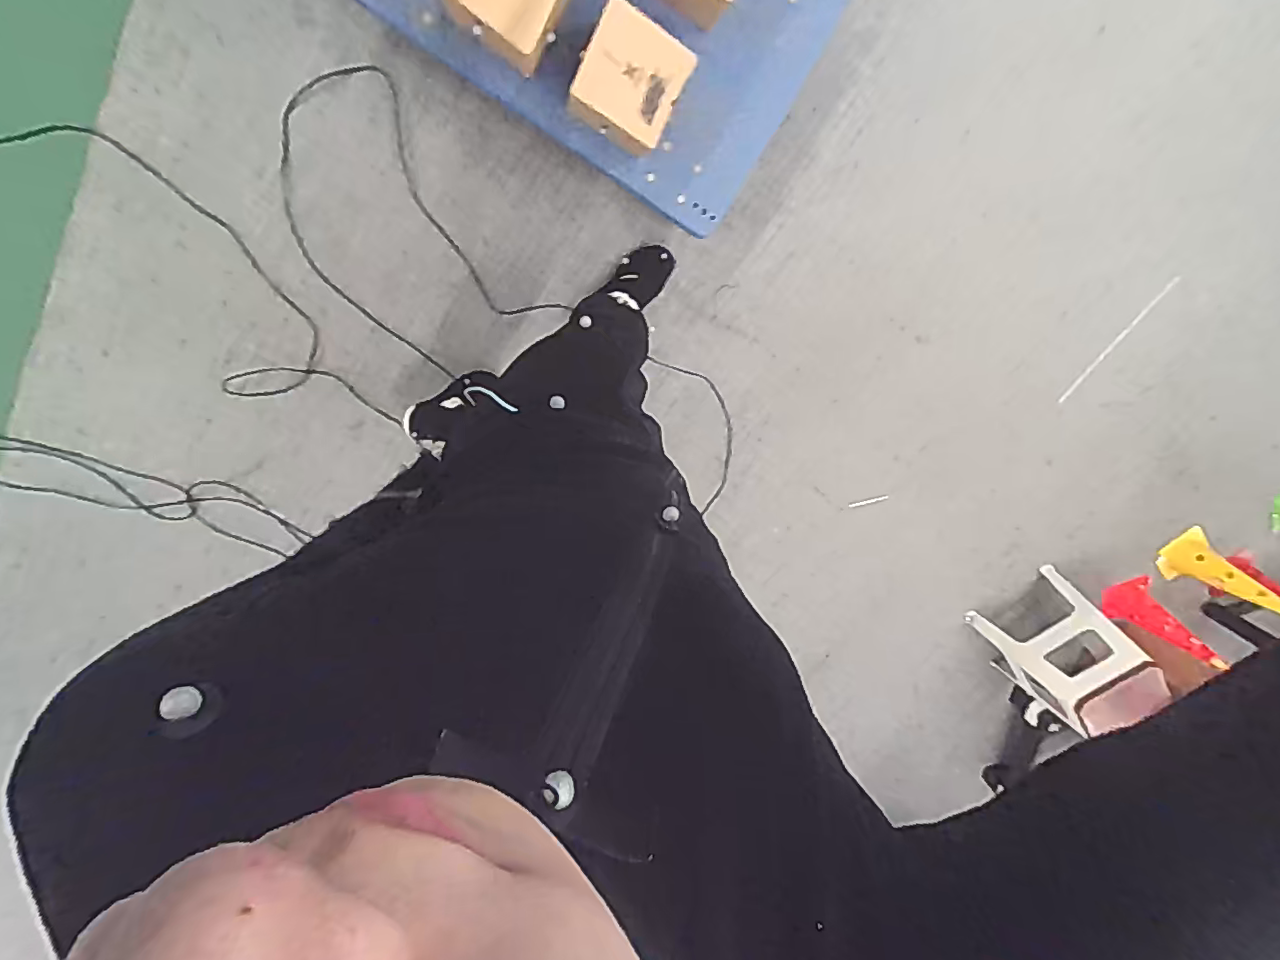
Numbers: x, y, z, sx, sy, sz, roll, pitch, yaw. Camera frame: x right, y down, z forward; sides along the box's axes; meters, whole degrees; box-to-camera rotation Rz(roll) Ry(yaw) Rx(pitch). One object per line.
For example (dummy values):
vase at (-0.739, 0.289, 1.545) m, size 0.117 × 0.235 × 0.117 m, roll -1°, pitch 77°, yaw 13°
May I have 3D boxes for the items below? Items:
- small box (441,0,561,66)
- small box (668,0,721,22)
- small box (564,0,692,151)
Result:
small box at (-0.237, -0.863, 0.935) m, size 0.179 × 0.176 × 0.168 m, roll 28°, pitch 108°, yaw -20°
small box at (0.099, -0.957, 0.944) m, size 0.179 × 0.176 × 0.168 m, roll 22°, pitch 111°, yaw -19°
small box at (-0.031, -0.752, 1.022) m, size 0.179 × 0.176 × 0.168 m, roll 25°, pitch 109°, yaw -19°
